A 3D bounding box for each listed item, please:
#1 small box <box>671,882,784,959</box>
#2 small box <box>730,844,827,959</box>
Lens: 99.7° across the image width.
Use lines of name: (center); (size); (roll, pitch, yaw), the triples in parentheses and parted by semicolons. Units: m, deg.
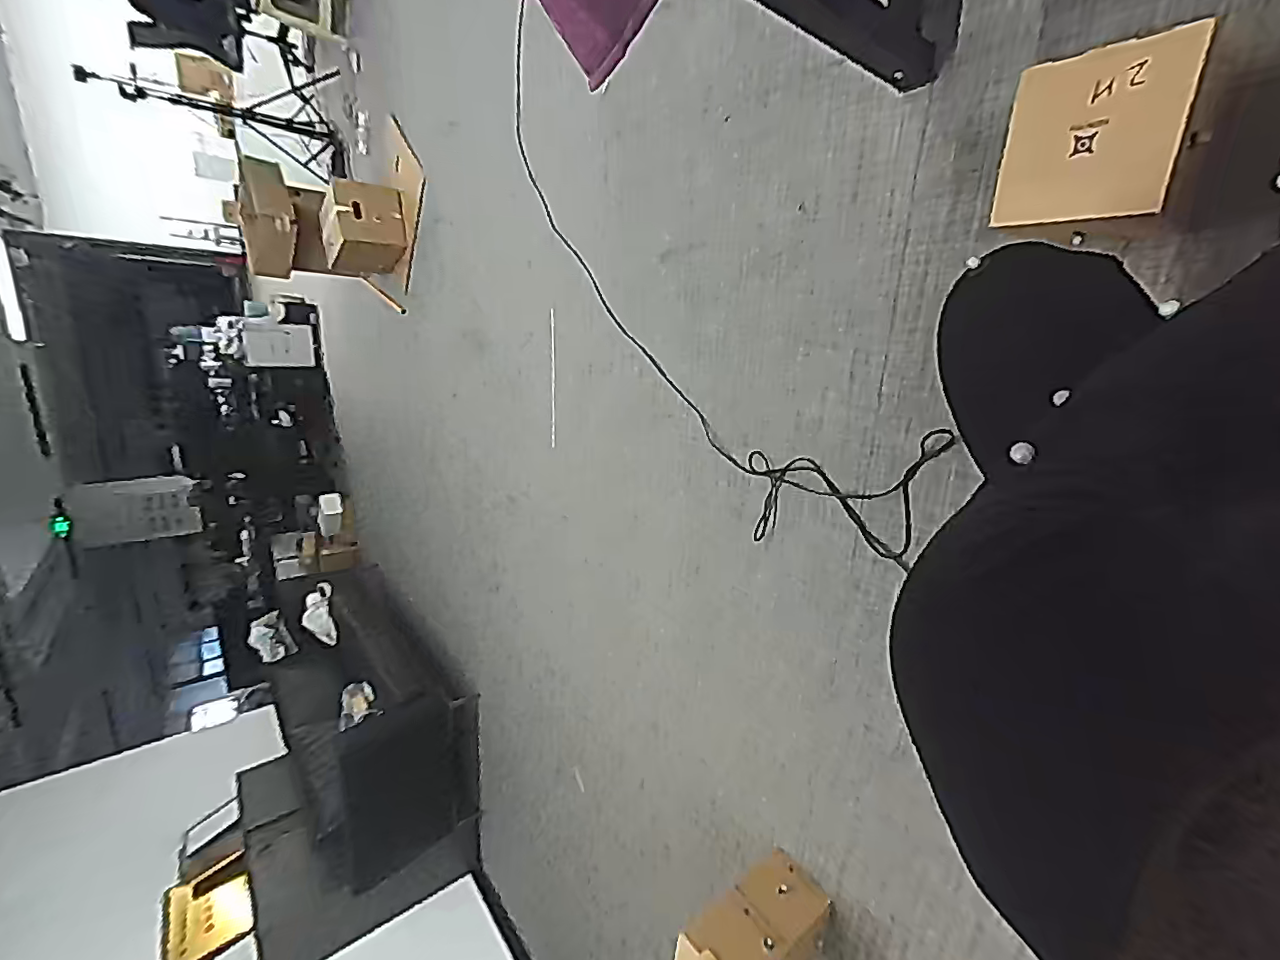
small box: (0.187, 1.030, 1.166); (0.168, 0.176, 0.179); (27, 118, 47)
small box: (0.315, 1.013, 1.269); (0.168, 0.176, 0.179); (25, 116, 48)
